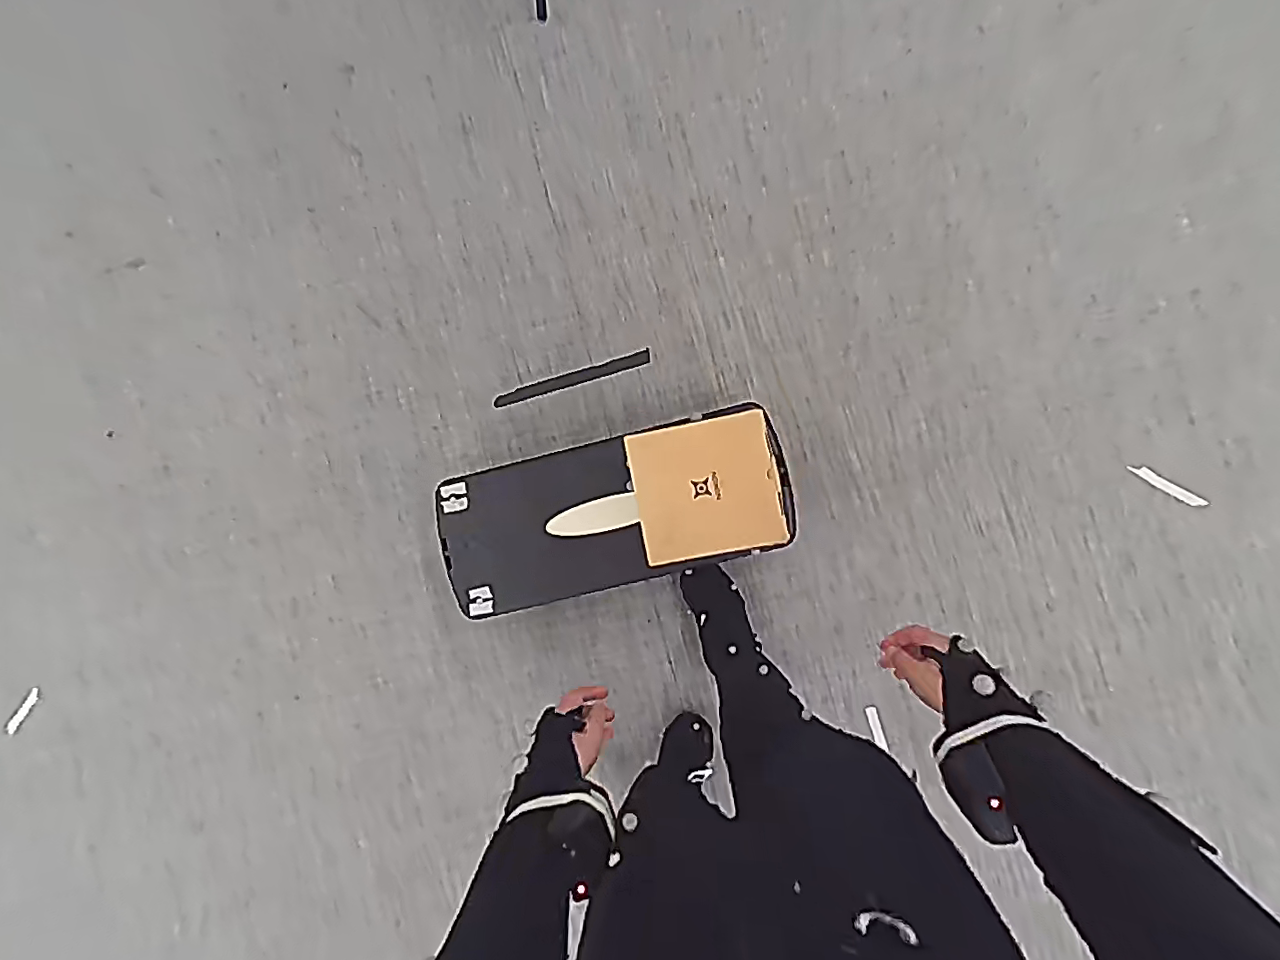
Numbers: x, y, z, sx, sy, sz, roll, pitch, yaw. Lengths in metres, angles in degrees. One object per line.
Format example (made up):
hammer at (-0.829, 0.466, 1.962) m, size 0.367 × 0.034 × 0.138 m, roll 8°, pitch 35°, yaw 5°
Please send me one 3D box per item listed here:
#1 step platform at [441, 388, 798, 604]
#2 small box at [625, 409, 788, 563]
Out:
step platform at (-0.040, 0.036, 1.086) m, size 0.684 × 0.204 × 0.286 m, roll -15°, pitch 87°, yaw 5°
small box at (0.086, 0.011, 0.740) m, size 0.179 × 0.176 × 0.168 m, roll -11°, pitch 88°, yaw 3°
